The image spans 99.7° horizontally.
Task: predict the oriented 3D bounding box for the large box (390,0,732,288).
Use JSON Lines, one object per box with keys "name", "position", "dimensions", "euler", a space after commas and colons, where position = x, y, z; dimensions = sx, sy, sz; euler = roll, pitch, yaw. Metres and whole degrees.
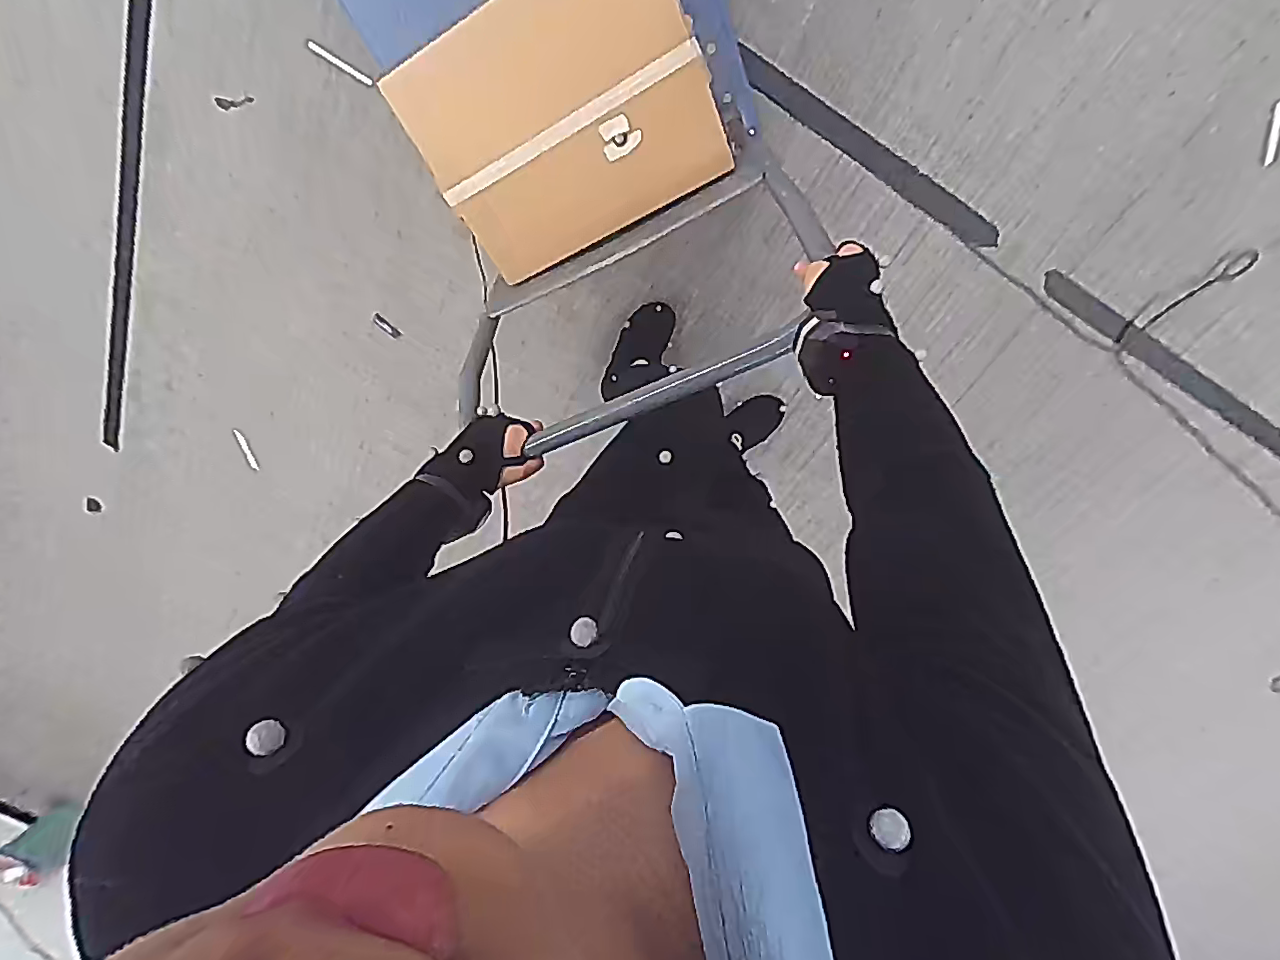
{"name": "large box", "position": [-0.108, -0.590, 0.886], "dimensions": [0.408, 0.320, 0.320], "euler": [-22, 128, 16]}
